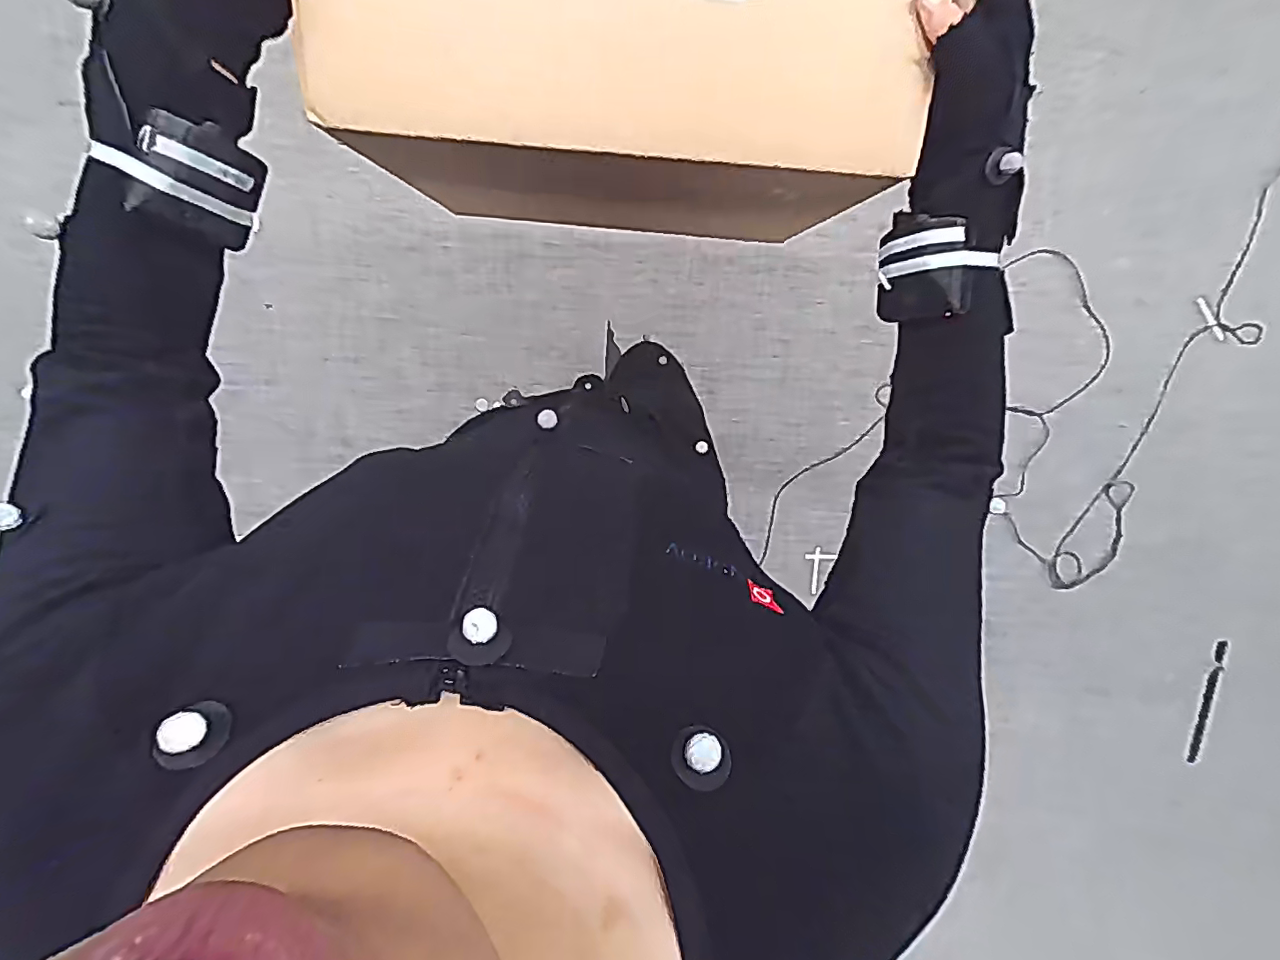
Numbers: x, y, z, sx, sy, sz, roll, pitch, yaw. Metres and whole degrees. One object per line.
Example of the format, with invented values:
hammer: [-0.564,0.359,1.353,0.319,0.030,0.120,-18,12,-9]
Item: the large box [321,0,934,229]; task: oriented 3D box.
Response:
large box: [-0.007,-0.421,0.472,0.408,0.320,0.320,3,107,-3]
